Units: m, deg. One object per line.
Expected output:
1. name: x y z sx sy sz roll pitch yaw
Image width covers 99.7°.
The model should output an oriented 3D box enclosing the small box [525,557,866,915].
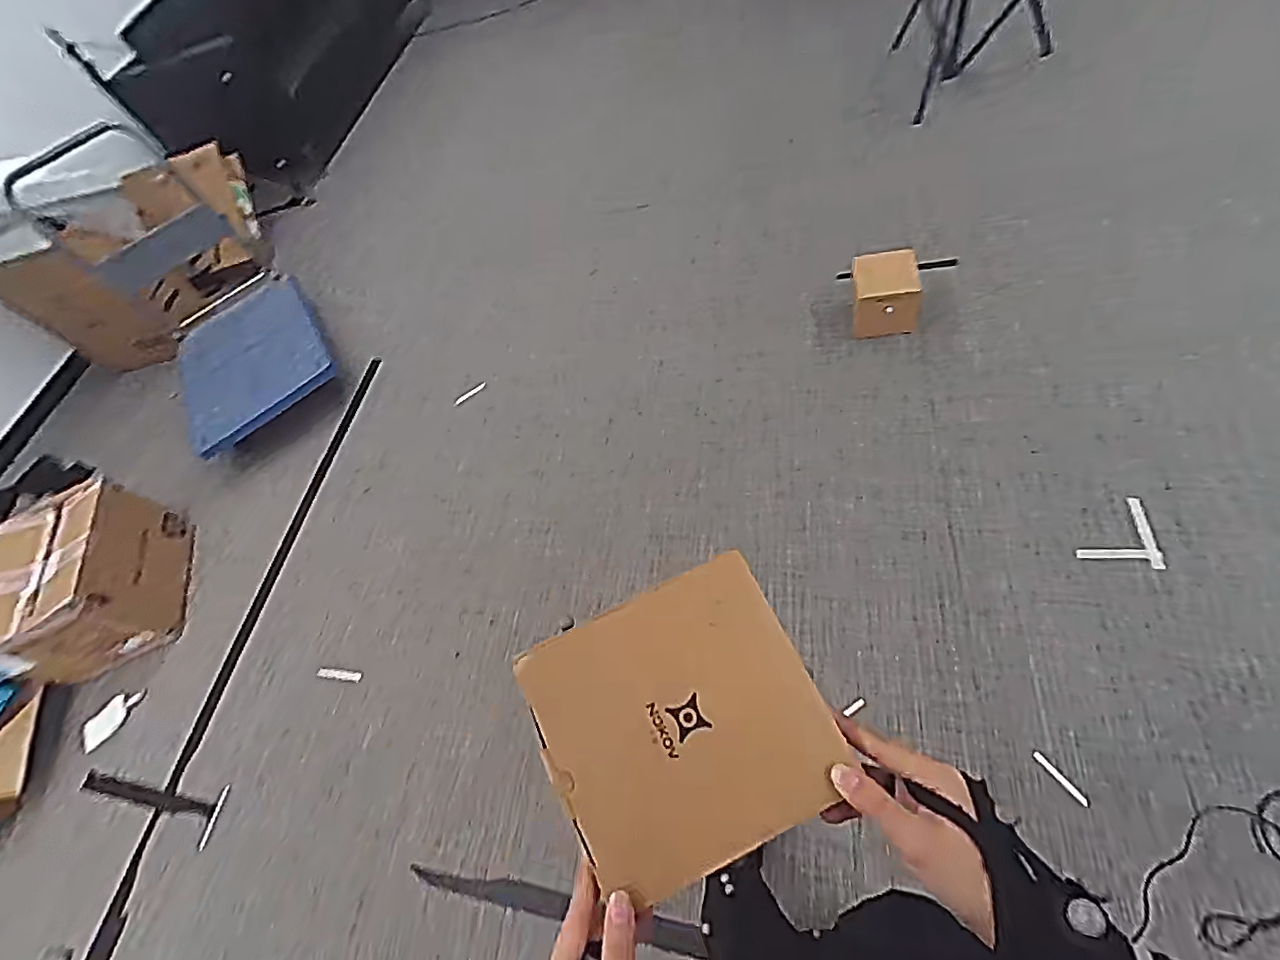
1. small box: 0.036 0.178 0.428 0.179 0.176 0.168 -25 73 -3

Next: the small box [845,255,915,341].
1. small box: 0.721 -0.552 1.636 0.168 0.176 0.179 -2 60 16
